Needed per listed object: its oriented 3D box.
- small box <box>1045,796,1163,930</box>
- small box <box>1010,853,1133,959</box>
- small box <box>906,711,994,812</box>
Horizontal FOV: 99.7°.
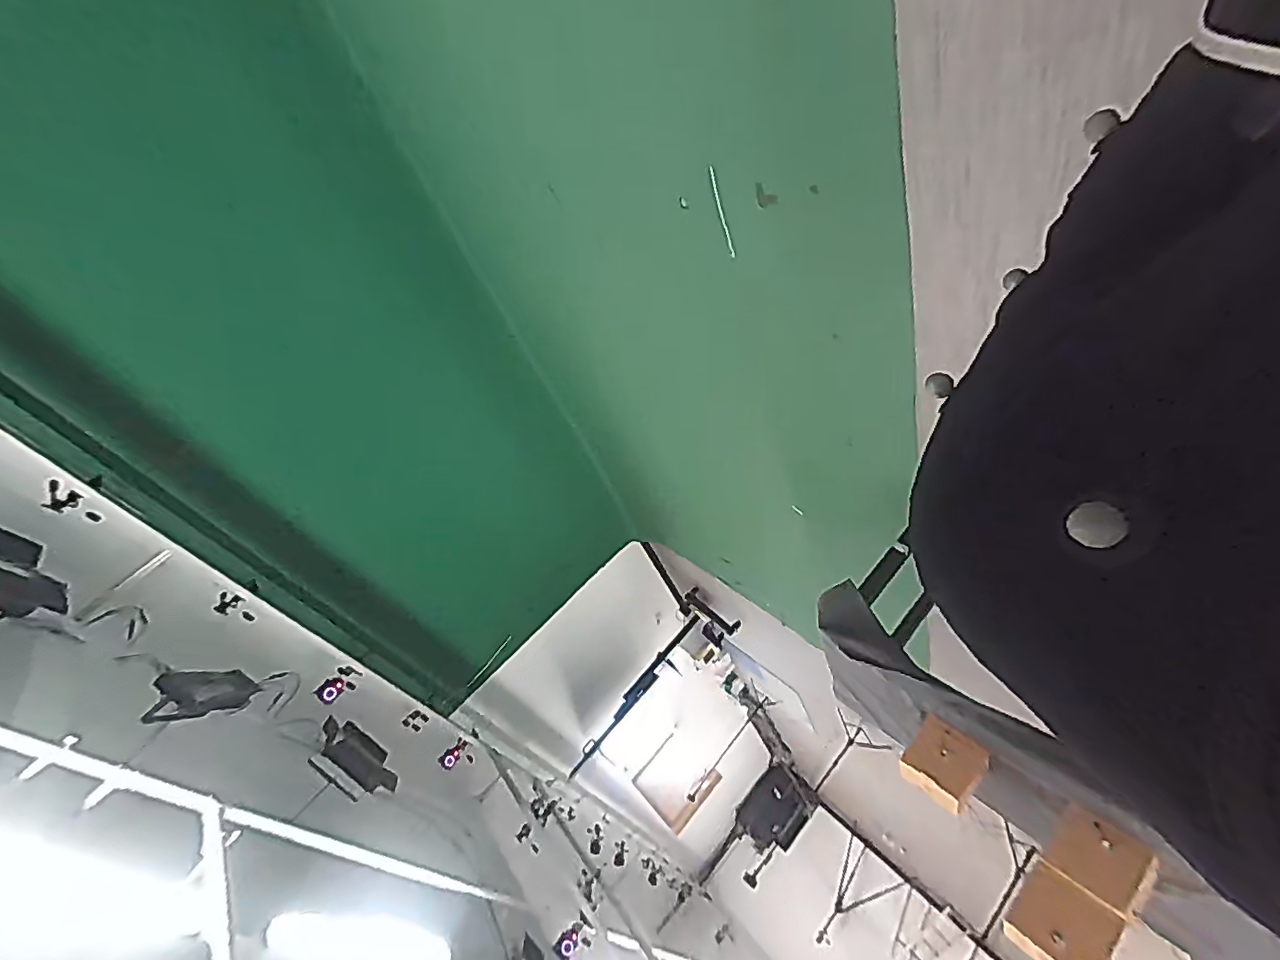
[{"bbox_3d":[1.099,0.899,1.280,0.168,0.176,0.179,21,150,54],"label":"small box"},{"bbox_3d":[0.991,1.016,1.245,0.179,0.176,0.168,26,152,51],"label":"small box"},{"bbox_3d":[0.891,0.804,1.557,0.168,0.176,0.179,28,155,44],"label":"small box"}]
